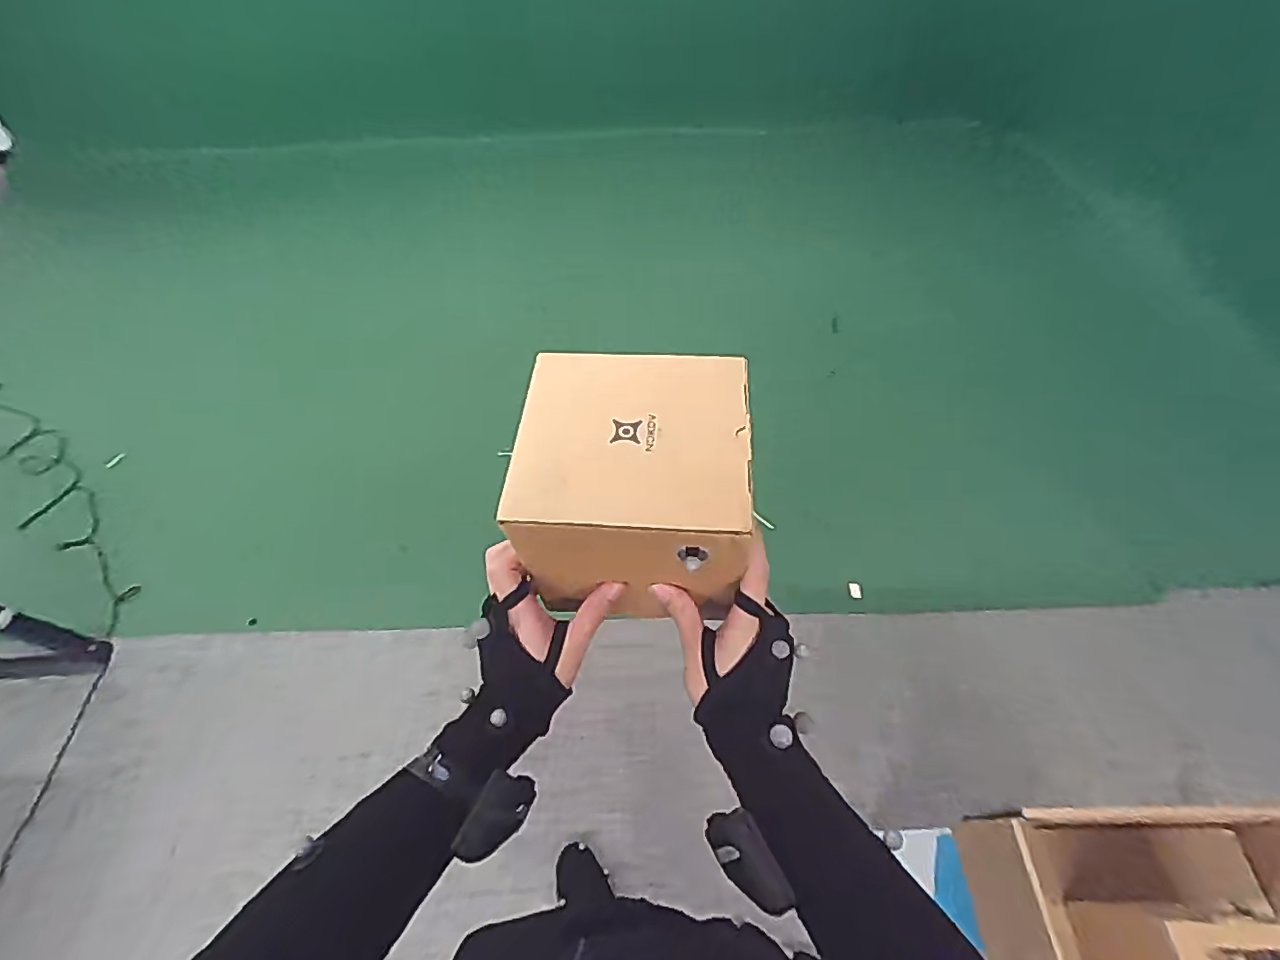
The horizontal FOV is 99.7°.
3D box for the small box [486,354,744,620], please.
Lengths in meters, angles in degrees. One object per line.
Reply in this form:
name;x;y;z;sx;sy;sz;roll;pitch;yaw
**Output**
small box;-0.008;0.011;0.465;0.179;0.176;0.168;2;55;4
